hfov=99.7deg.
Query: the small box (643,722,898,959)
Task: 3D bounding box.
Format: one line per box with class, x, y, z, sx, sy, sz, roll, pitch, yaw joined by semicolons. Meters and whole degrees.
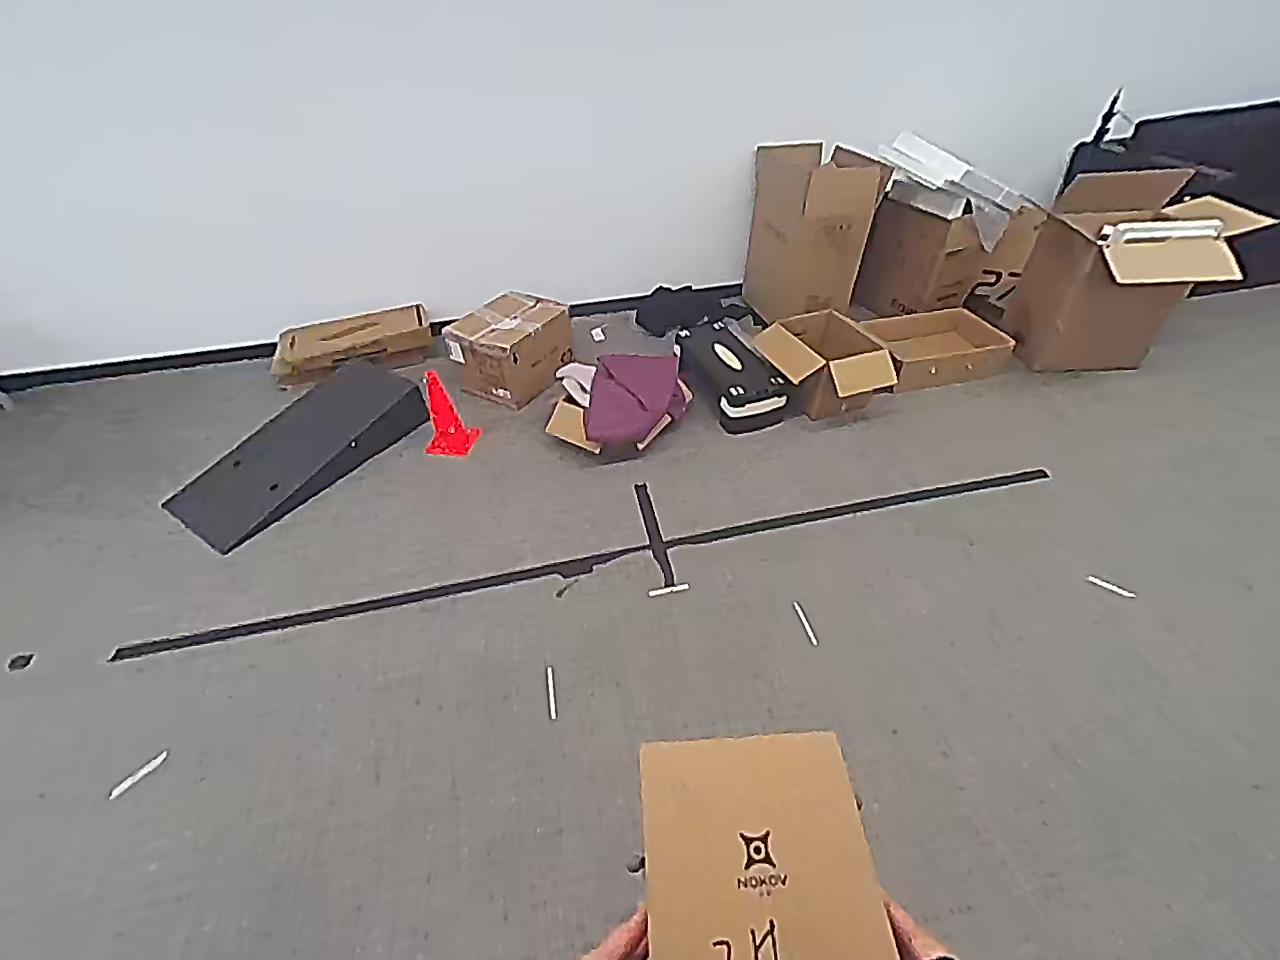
small box;0.088;0.326;0.455;0.168;0.176;0.179;-4;47;0
